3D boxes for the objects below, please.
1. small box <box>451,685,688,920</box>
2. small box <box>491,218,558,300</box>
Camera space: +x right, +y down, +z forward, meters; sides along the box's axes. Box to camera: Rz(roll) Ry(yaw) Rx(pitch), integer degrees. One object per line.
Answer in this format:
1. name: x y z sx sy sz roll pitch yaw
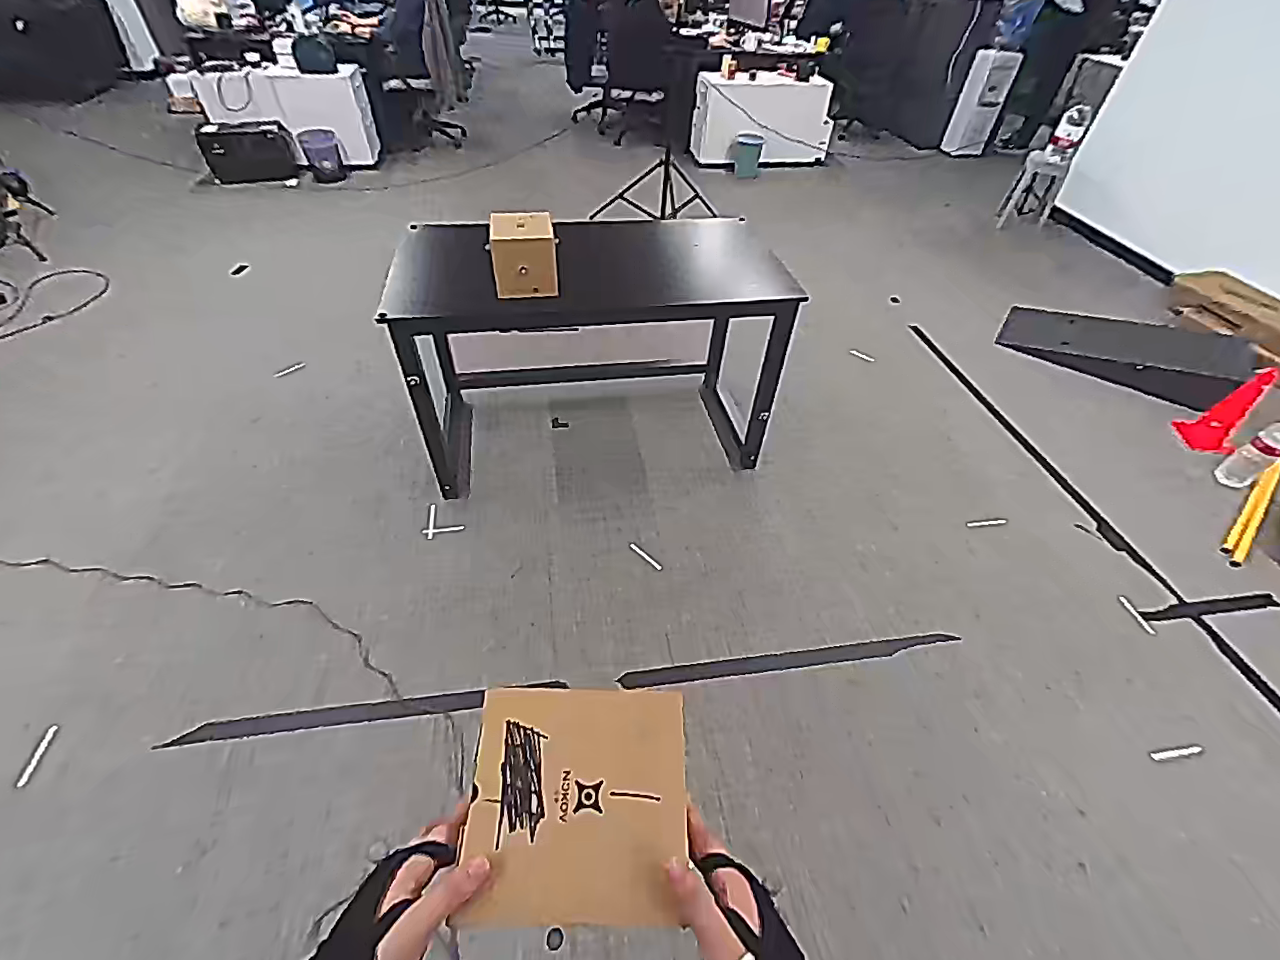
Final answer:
1. small box: -0.054 0.302 0.503 0.179 0.176 0.168 2 52 -2
2. small box: -0.325 -0.621 1.529 0.168 0.176 0.179 -6 47 -9
